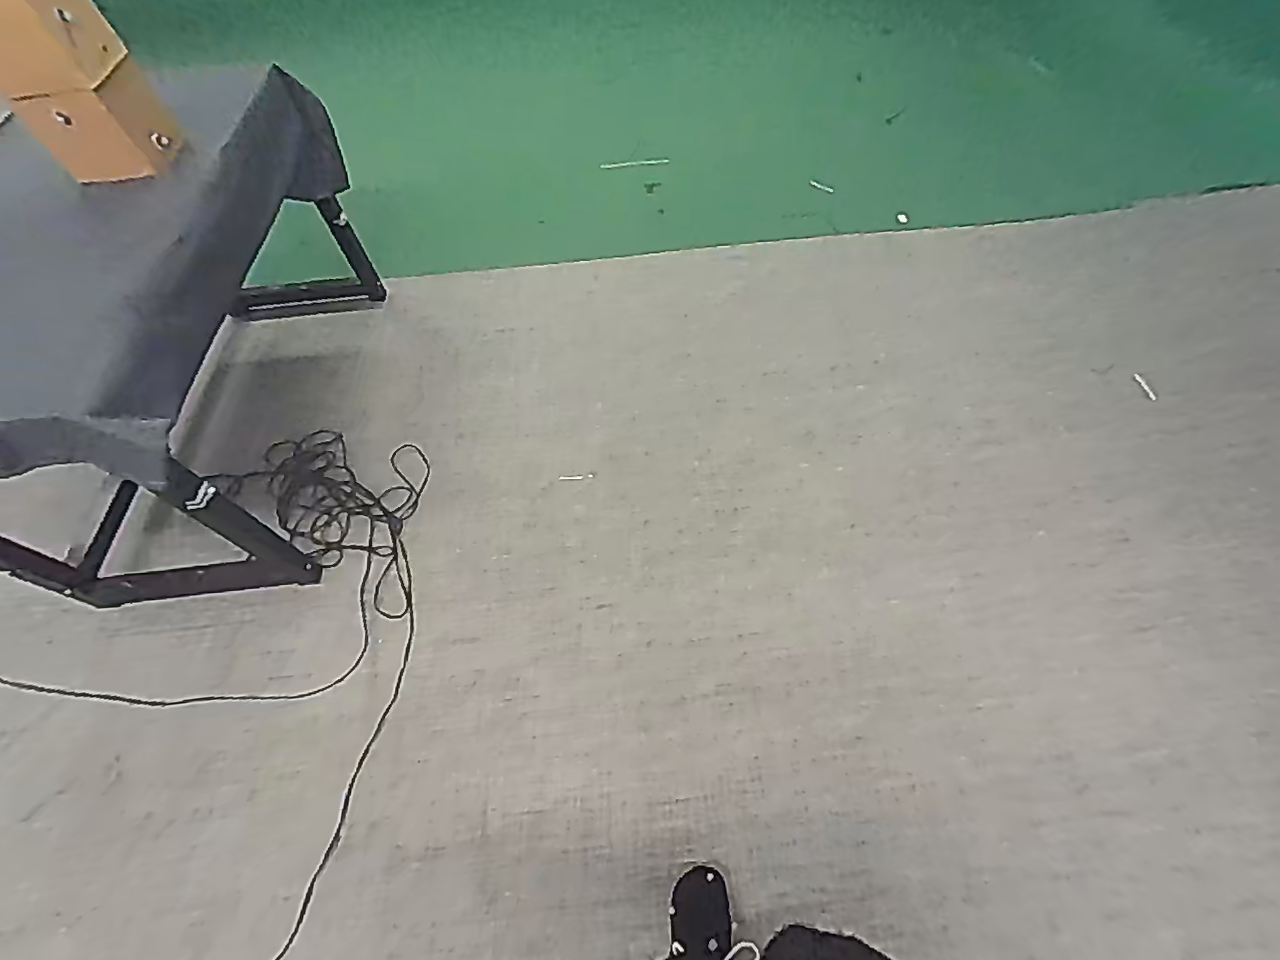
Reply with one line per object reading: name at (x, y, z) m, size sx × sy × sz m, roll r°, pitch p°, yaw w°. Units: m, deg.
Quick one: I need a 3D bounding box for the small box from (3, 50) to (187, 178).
small box at (-1.111, -0.752, 1.121) m, size 0.179 × 0.176 × 0.168 m, roll -5°, pitch 59°, yaw -1°

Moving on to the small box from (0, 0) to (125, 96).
small box at (-1.110, -0.833, 0.980) m, size 0.179 × 0.176 × 0.168 m, roll -7°, pitch 59°, yaw 0°
